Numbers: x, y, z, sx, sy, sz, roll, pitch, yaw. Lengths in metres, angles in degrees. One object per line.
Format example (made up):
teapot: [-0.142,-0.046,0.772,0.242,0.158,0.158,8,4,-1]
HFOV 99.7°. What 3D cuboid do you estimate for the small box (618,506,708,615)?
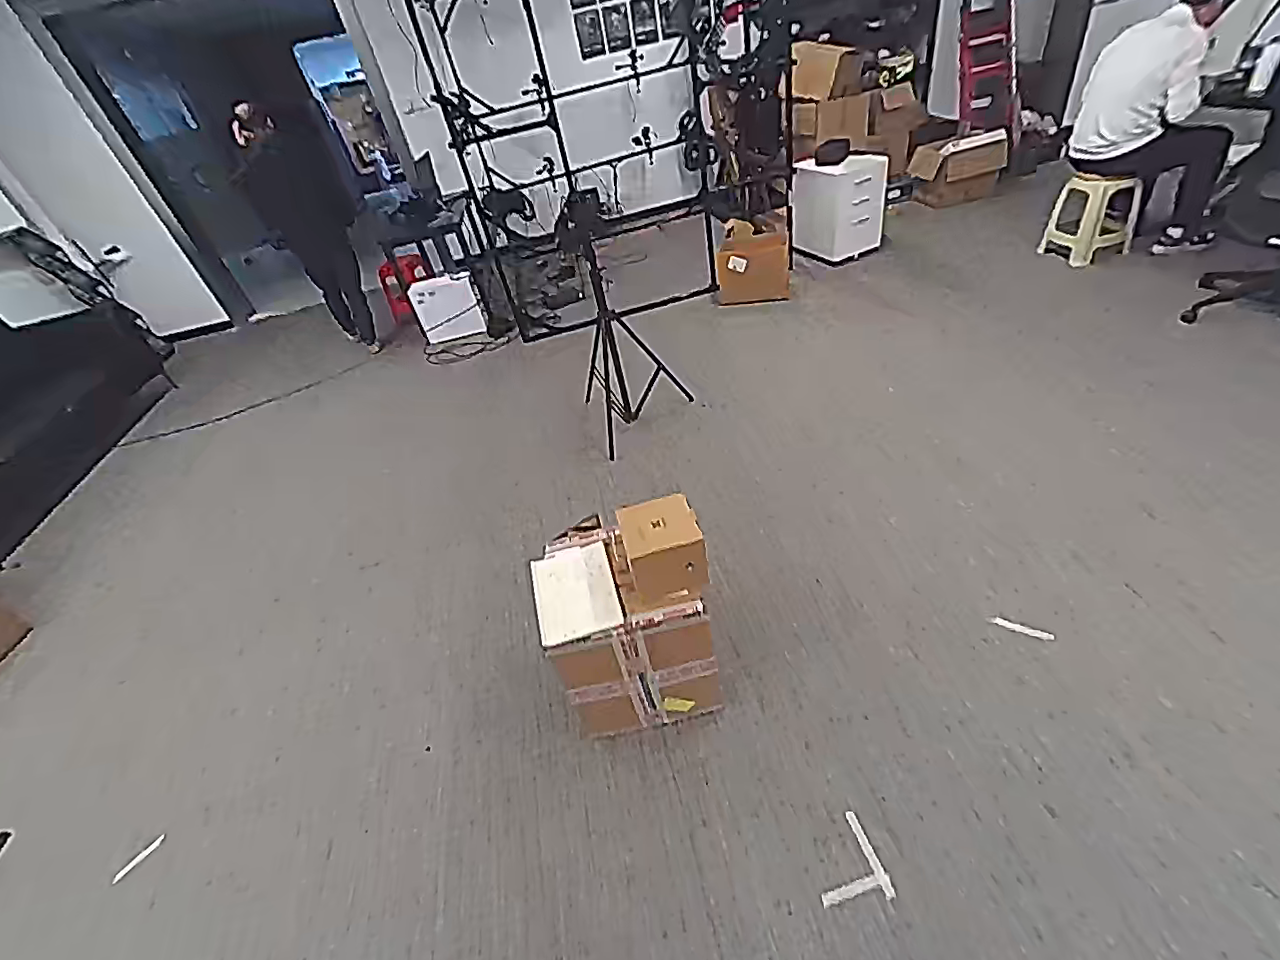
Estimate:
small box: [0.059,0.195,1.296,0.179,0.176,0.168,-16,40,-5]
